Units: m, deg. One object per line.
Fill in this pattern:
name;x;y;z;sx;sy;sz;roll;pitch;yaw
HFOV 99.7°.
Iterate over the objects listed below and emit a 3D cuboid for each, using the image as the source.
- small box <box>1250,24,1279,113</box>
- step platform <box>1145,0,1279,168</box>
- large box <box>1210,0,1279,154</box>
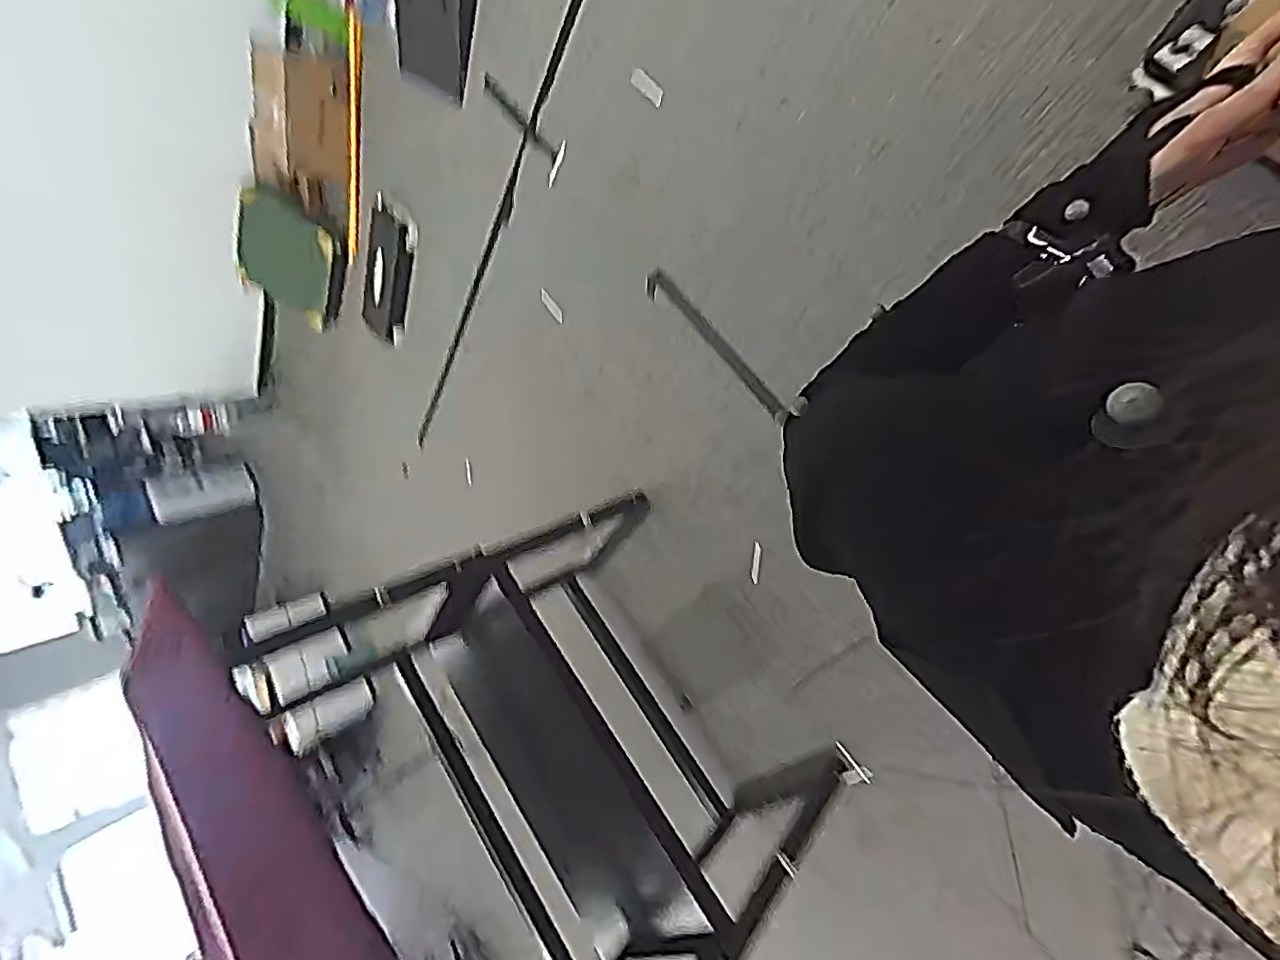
small box;0.426;-0.253;0.221;0.179;0.176;0.168;21;126;29
step platform;1.110;-0.553;0.777;0.286;0.204;0.684;-43;73;41
large box;0.973;-0.490;0.591;0.320;0.320;0.408;-46;71;39
